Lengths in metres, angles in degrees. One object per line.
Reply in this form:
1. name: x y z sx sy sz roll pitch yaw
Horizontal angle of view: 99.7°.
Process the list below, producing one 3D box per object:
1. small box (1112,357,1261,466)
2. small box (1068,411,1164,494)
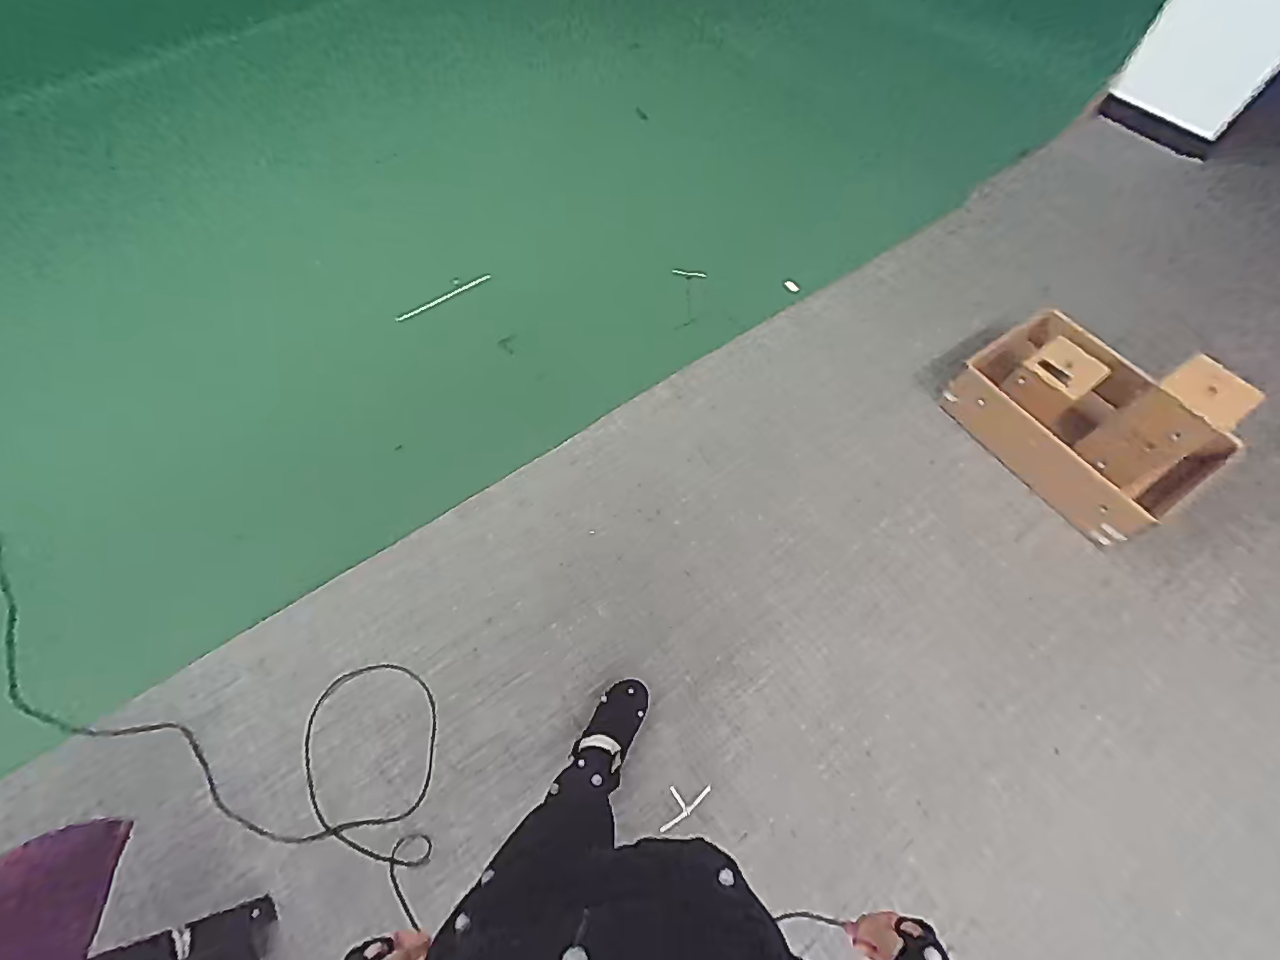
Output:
1. small box: 1.342 -0.165 1.347 0.179 0.176 0.168 -31 65 -14
2. small box: 1.349 -0.093 1.493 0.179 0.176 0.168 -31 64 -13
